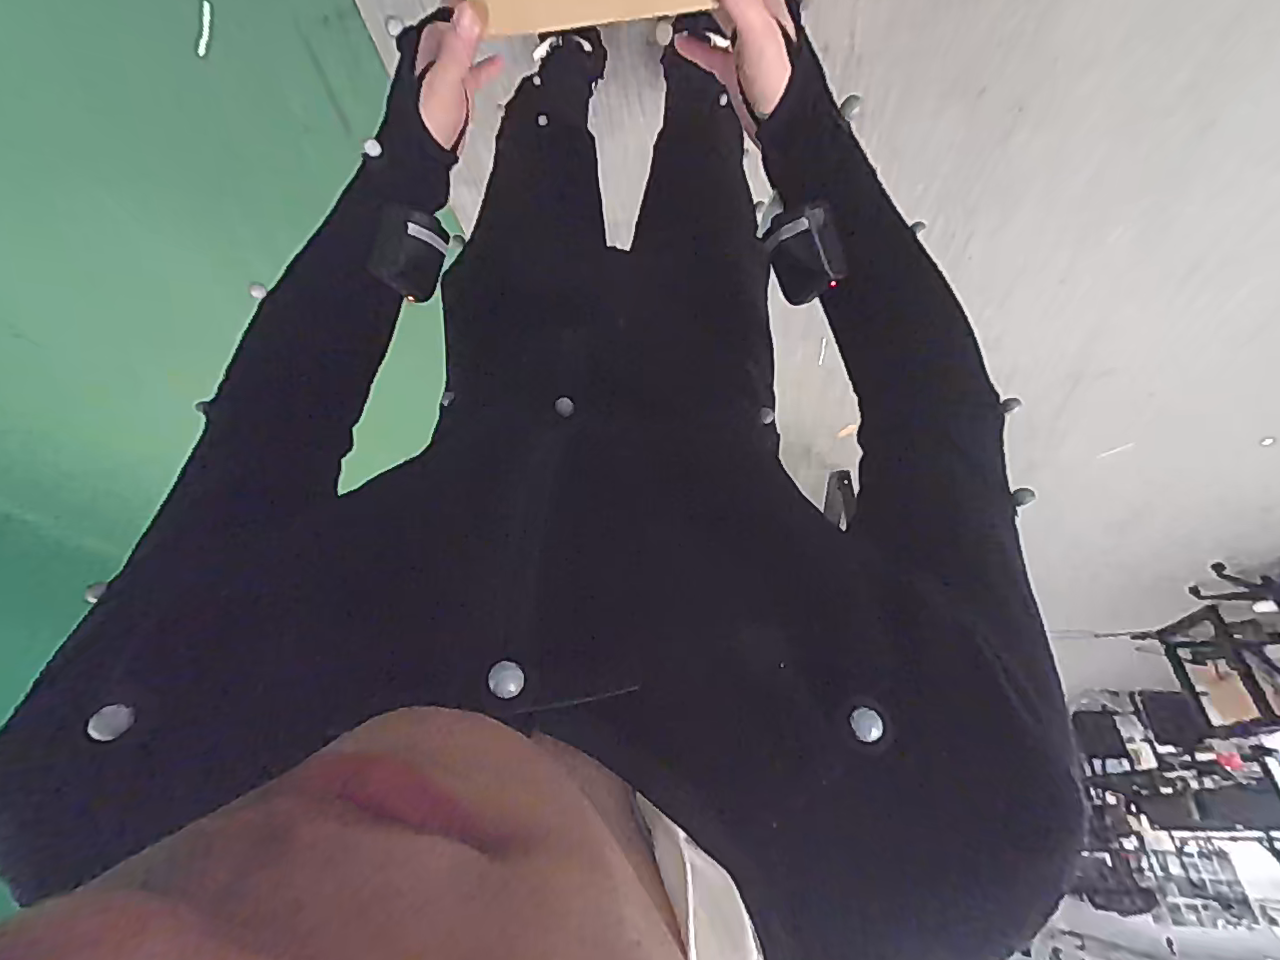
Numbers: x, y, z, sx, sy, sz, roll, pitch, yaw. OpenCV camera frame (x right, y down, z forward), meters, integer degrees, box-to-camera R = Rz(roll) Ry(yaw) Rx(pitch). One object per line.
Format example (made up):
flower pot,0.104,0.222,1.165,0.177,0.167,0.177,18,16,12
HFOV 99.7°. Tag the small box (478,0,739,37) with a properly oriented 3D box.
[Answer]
small box,-0.026,-0.422,0.367,0.179,0.176,0.168,-3,133,5
